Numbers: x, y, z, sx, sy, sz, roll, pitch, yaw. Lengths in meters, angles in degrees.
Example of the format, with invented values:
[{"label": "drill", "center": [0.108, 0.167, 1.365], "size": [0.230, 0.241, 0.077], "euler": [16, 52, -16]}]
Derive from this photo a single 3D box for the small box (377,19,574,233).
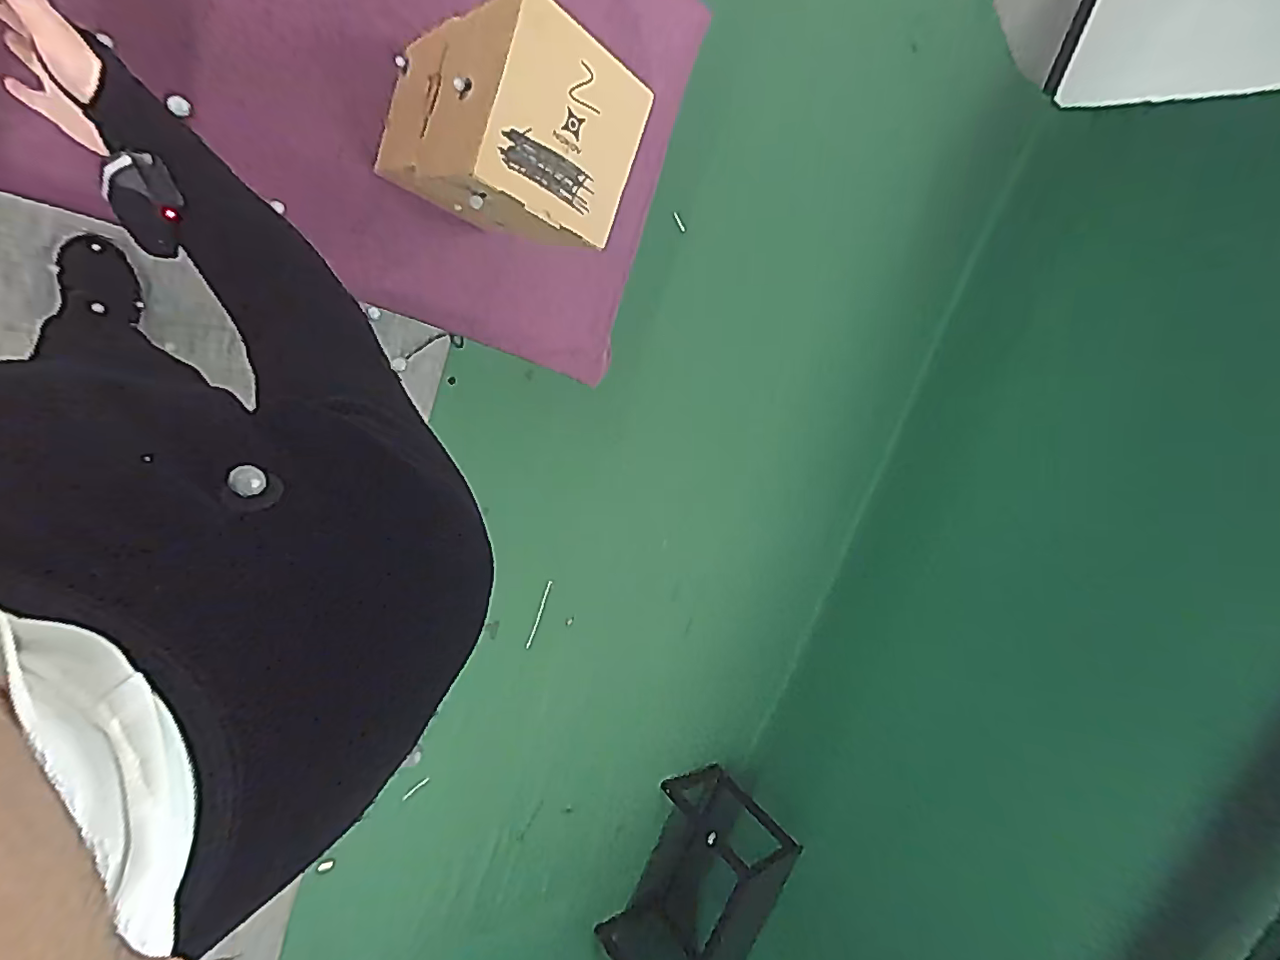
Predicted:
[{"label": "small box", "center": [-0.225, -0.449, 0.721], "size": [0.179, 0.176, 0.168], "euler": [11, 104, -46]}]
